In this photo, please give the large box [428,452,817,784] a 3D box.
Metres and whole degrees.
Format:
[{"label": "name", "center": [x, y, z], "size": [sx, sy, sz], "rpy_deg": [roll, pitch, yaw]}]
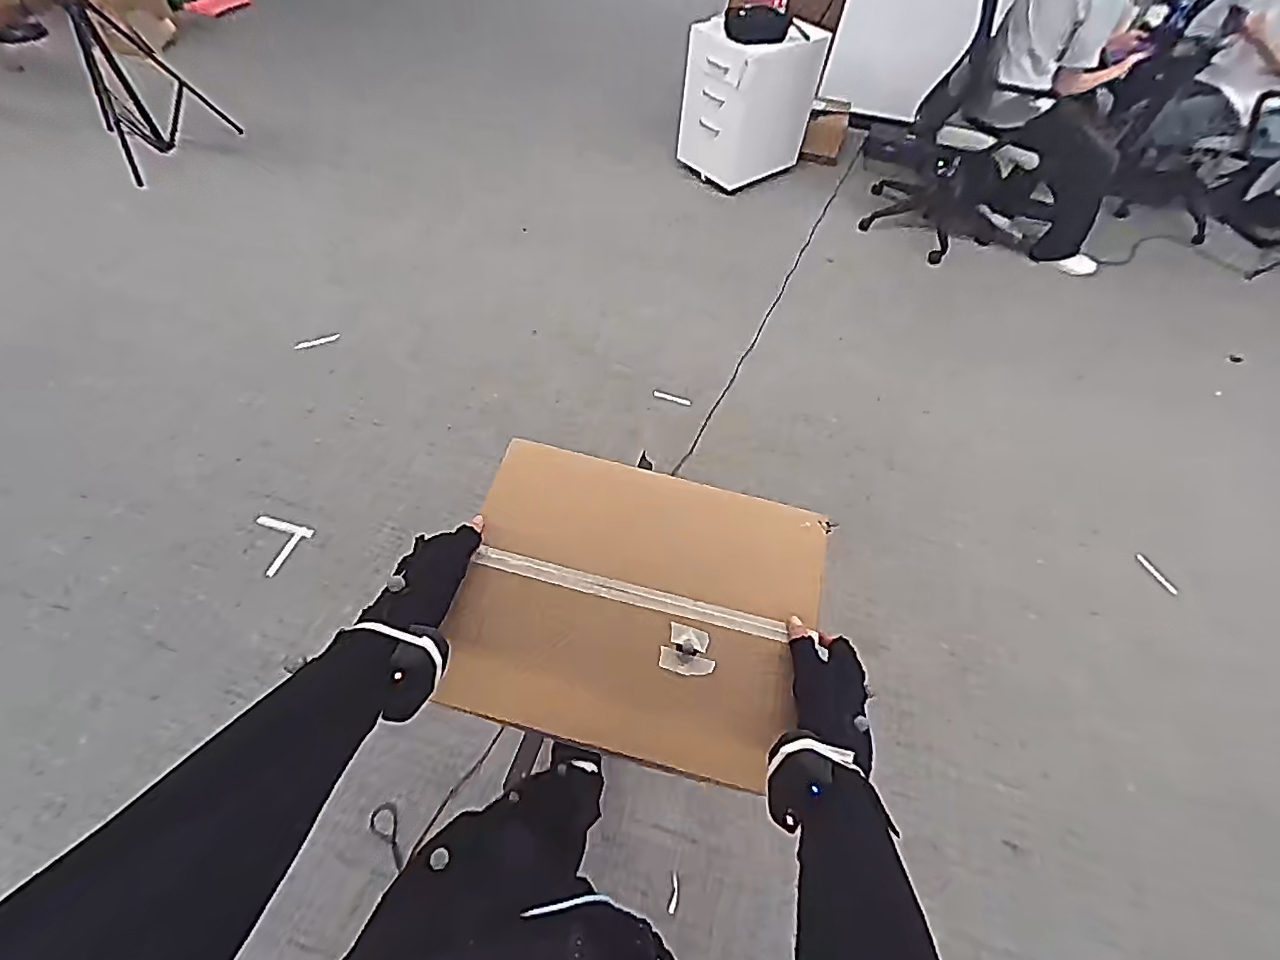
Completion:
[{"label": "large box", "center": [-0.012, 0.204, 0.758], "size": [0.408, 0.320, 0.320], "rpy_deg": [14, 63, 3]}]
